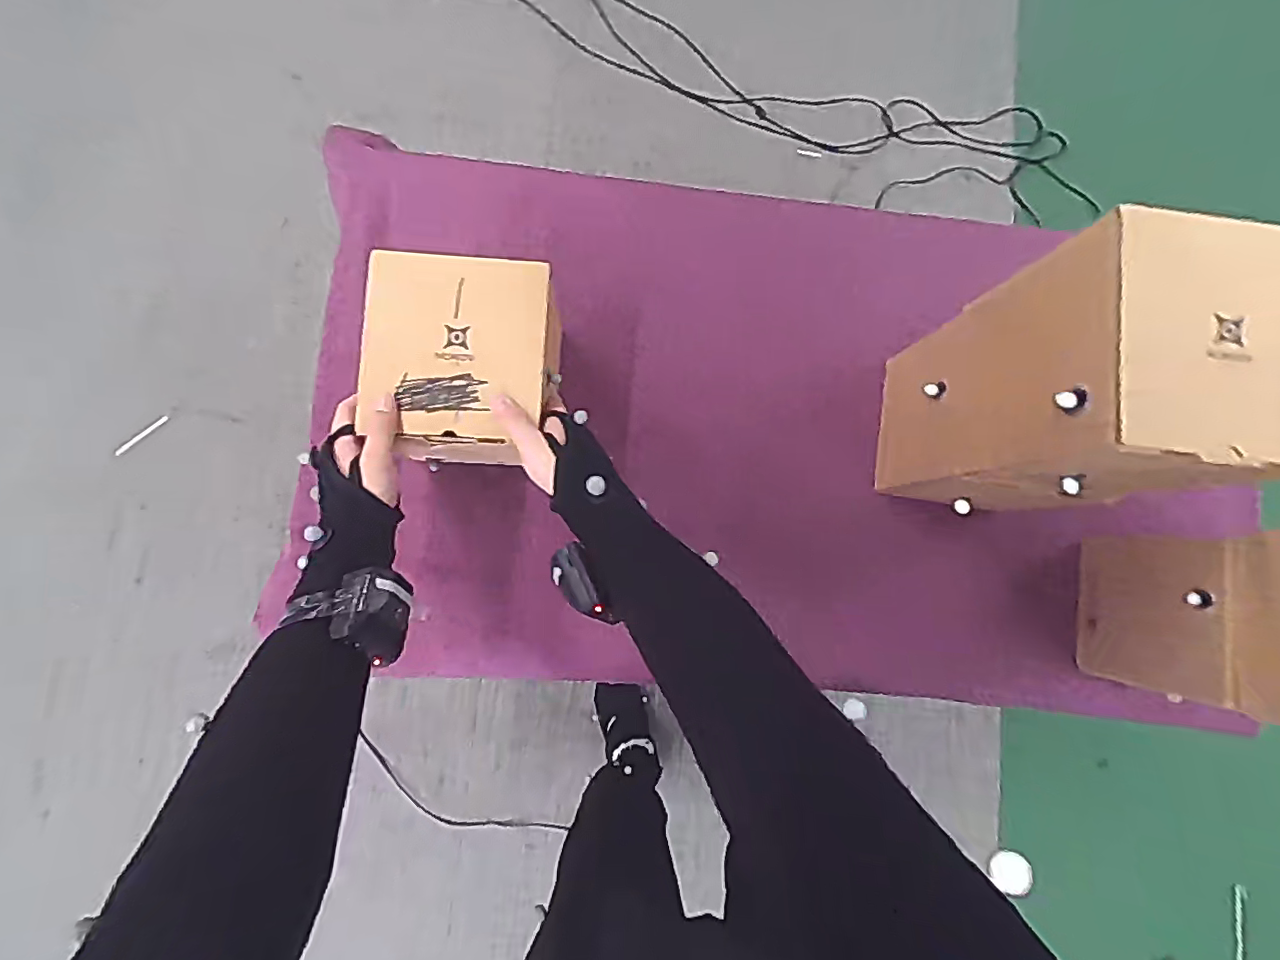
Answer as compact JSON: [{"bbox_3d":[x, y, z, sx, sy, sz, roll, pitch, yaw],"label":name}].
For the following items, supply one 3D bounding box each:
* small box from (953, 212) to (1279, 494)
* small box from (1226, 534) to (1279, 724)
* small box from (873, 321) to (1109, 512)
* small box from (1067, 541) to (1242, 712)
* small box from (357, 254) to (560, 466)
[{"bbox_3d":[0.396,-0.088,0.458,0.168,0.176,0.179,6,84,-4],"label":"small box"},{"bbox_3d":[0.653,0.139,0.450,0.168,0.176,0.179,9,83,-1],"label":"small box"},{"bbox_3d":[0.389,-0.064,0.618,0.168,0.176,0.179,10,83,-3],"label":"small box"},{"bbox_3d":[0.639,0.162,0.611,0.179,0.176,0.168,9,82,-3],"label":"small box"},{"bbox_3d":[-0.177,-0.113,0.581,0.168,0.176,0.179,3,83,-5],"label":"small box"}]
